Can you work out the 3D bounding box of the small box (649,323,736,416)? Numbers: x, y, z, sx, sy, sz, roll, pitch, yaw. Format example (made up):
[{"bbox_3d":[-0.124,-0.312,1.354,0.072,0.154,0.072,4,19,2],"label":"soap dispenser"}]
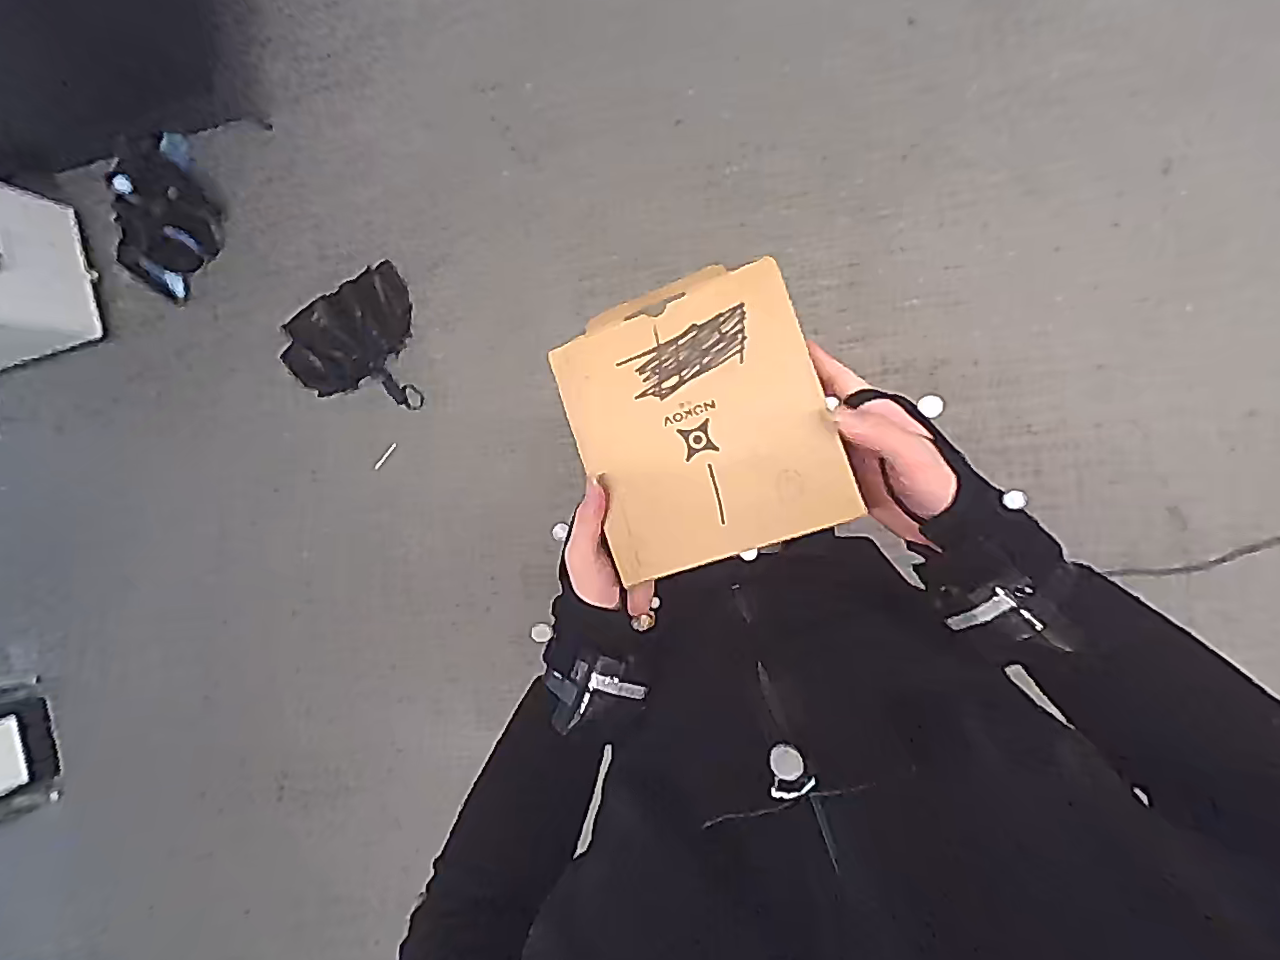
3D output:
[{"bbox_3d":[0.131,-0.256,1.297,0.168,0.176,0.179,-12,92,14],"label":"small box"}]
